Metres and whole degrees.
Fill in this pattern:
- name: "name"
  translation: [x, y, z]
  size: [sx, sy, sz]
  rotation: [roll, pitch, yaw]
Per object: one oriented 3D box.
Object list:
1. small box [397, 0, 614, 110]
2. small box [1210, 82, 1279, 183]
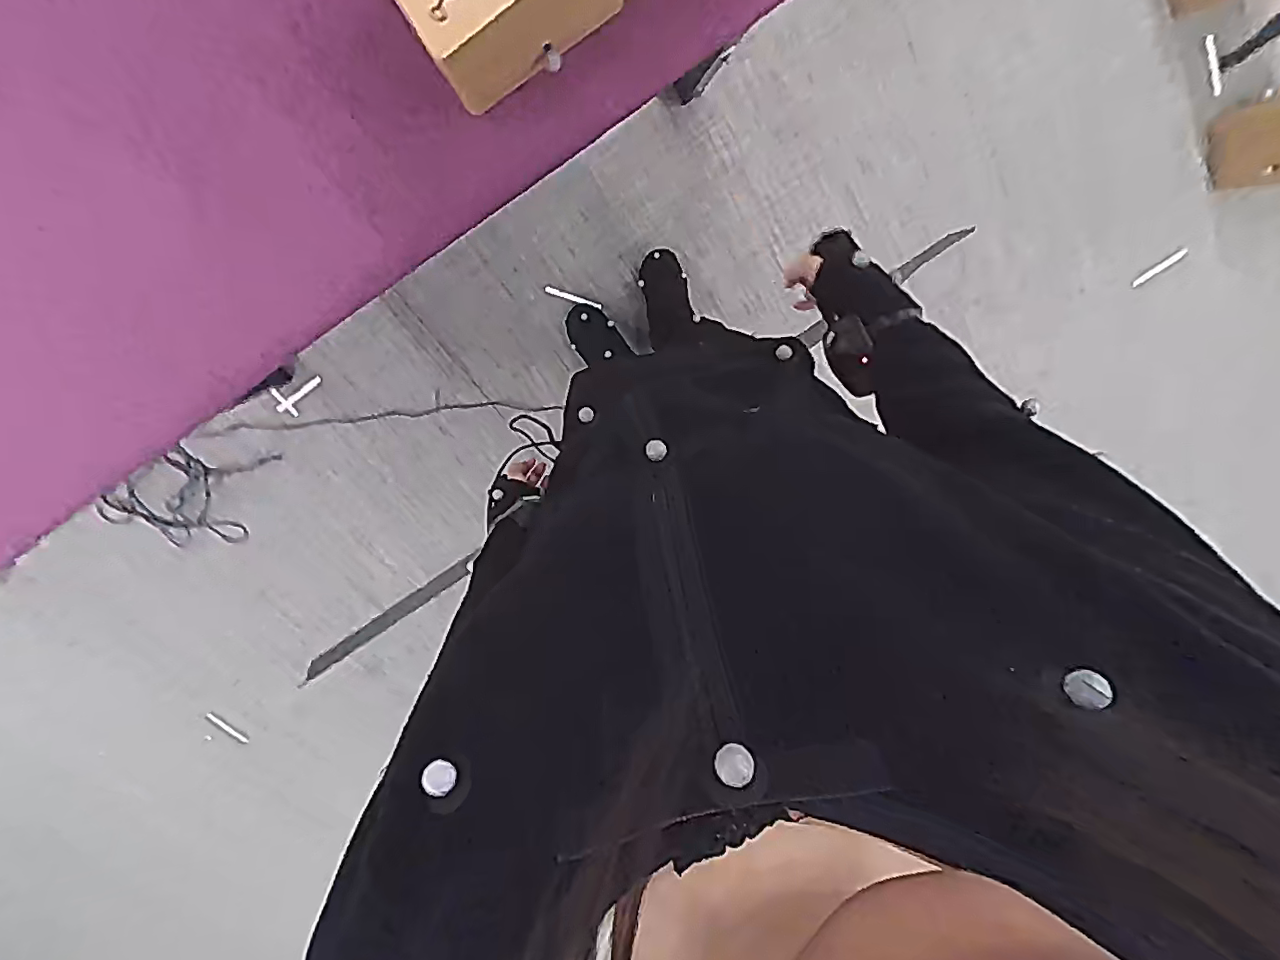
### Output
- name: "small box"
  translation: [-0.120, -0.430, 0.413]
  size: [0.179, 0.176, 0.168]
  rotation: [-33, 113, 6]
- name: "small box"
  translation: [1.496, -0.818, 1.261]
  size: [0.168, 0.176, 0.179]
  rotation: [-31, 113, 5]
